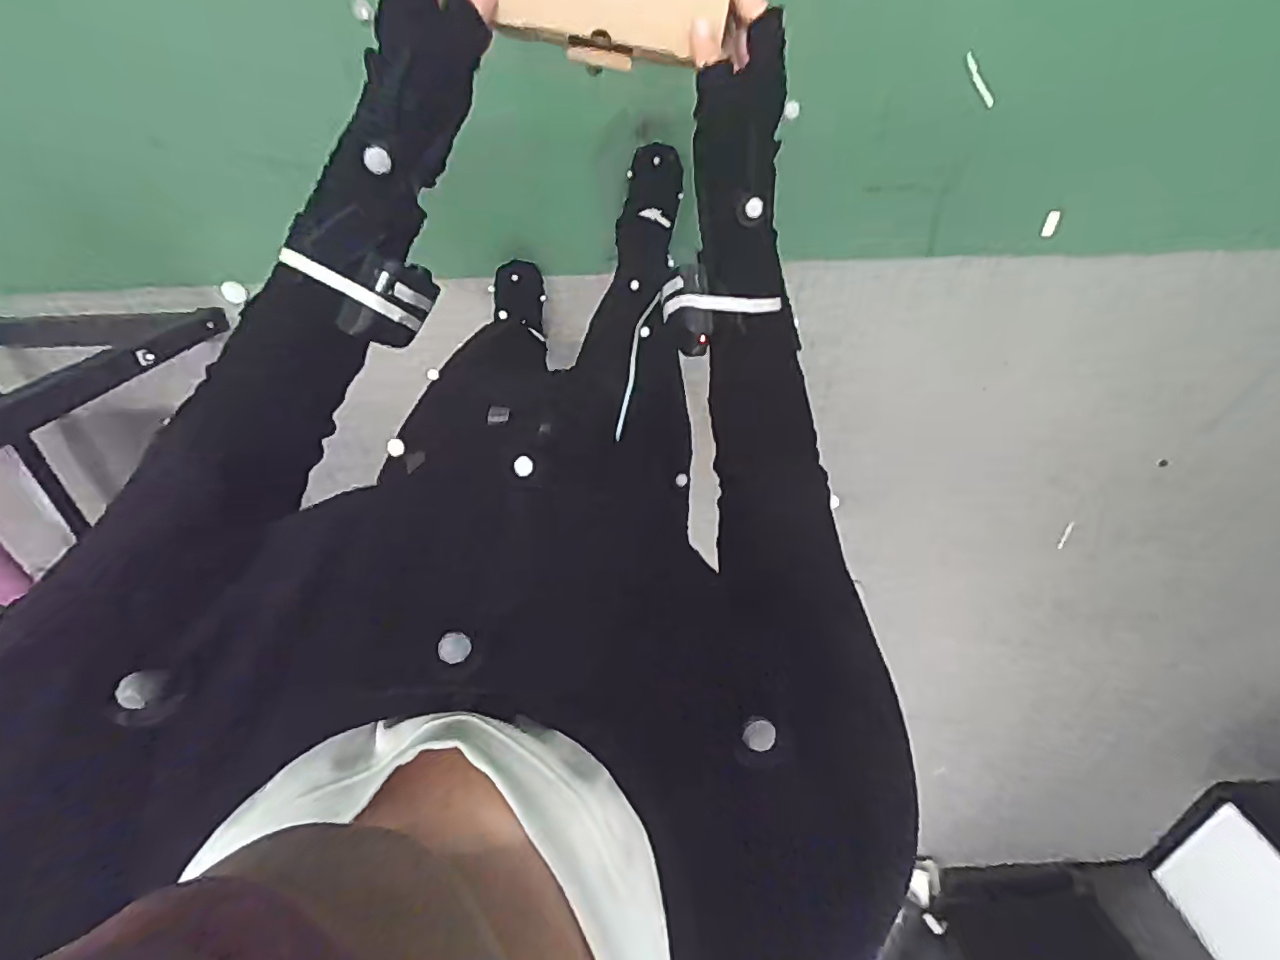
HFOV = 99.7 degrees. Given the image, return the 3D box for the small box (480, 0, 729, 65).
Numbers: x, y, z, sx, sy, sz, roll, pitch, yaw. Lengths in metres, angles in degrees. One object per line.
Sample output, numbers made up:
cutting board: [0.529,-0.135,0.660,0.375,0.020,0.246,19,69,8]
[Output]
small box: [-0.020,-0.416,0.380,0.168,0.176,0.179,4,126,-8]
